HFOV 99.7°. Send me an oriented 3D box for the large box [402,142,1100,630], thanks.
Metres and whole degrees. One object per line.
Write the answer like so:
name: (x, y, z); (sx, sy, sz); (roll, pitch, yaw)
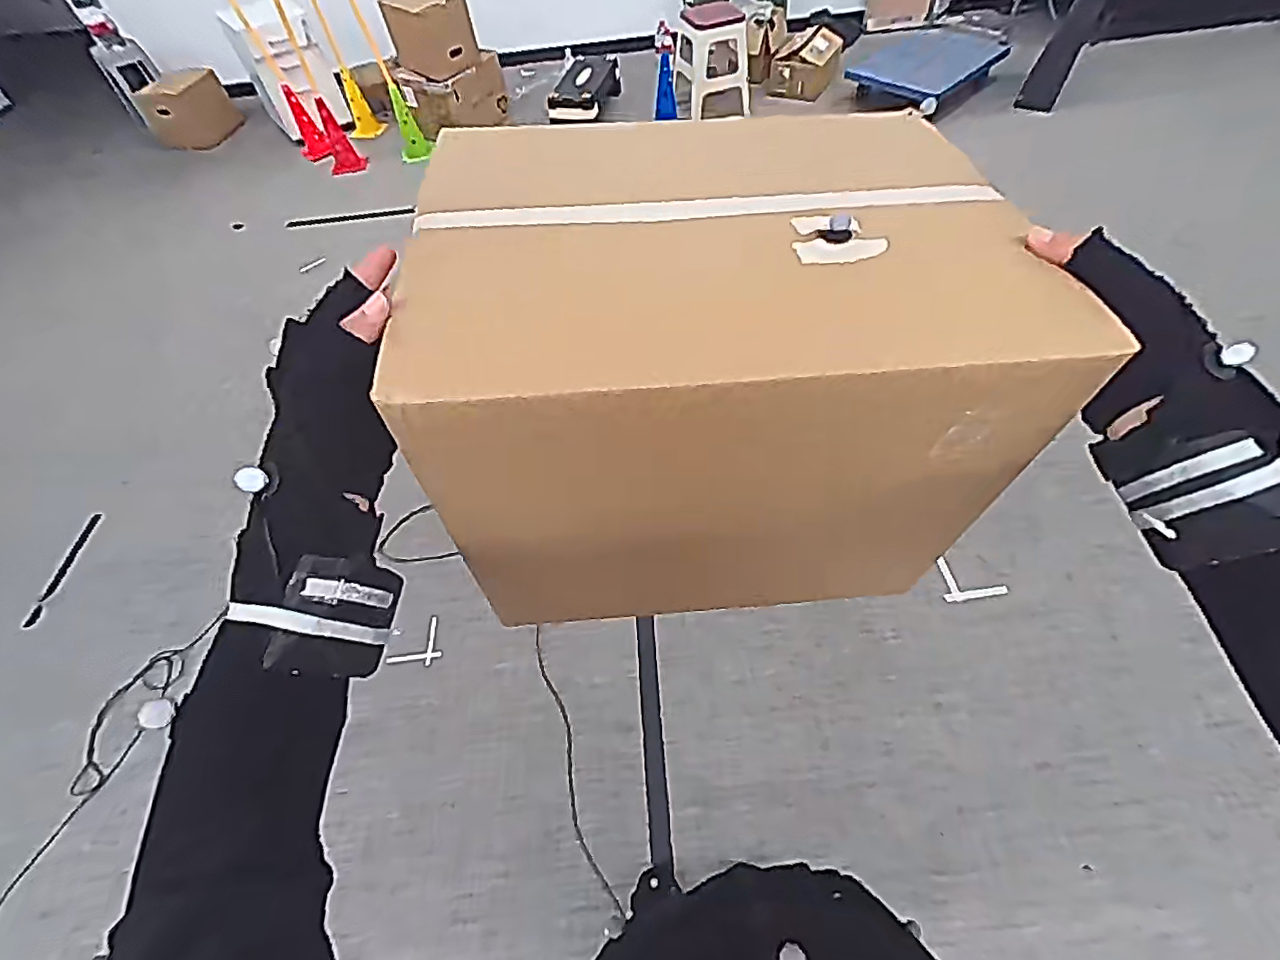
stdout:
large box: (0.051, -0.079, 0.501); (0.408, 0.320, 0.320); (-4, 54, -4)
